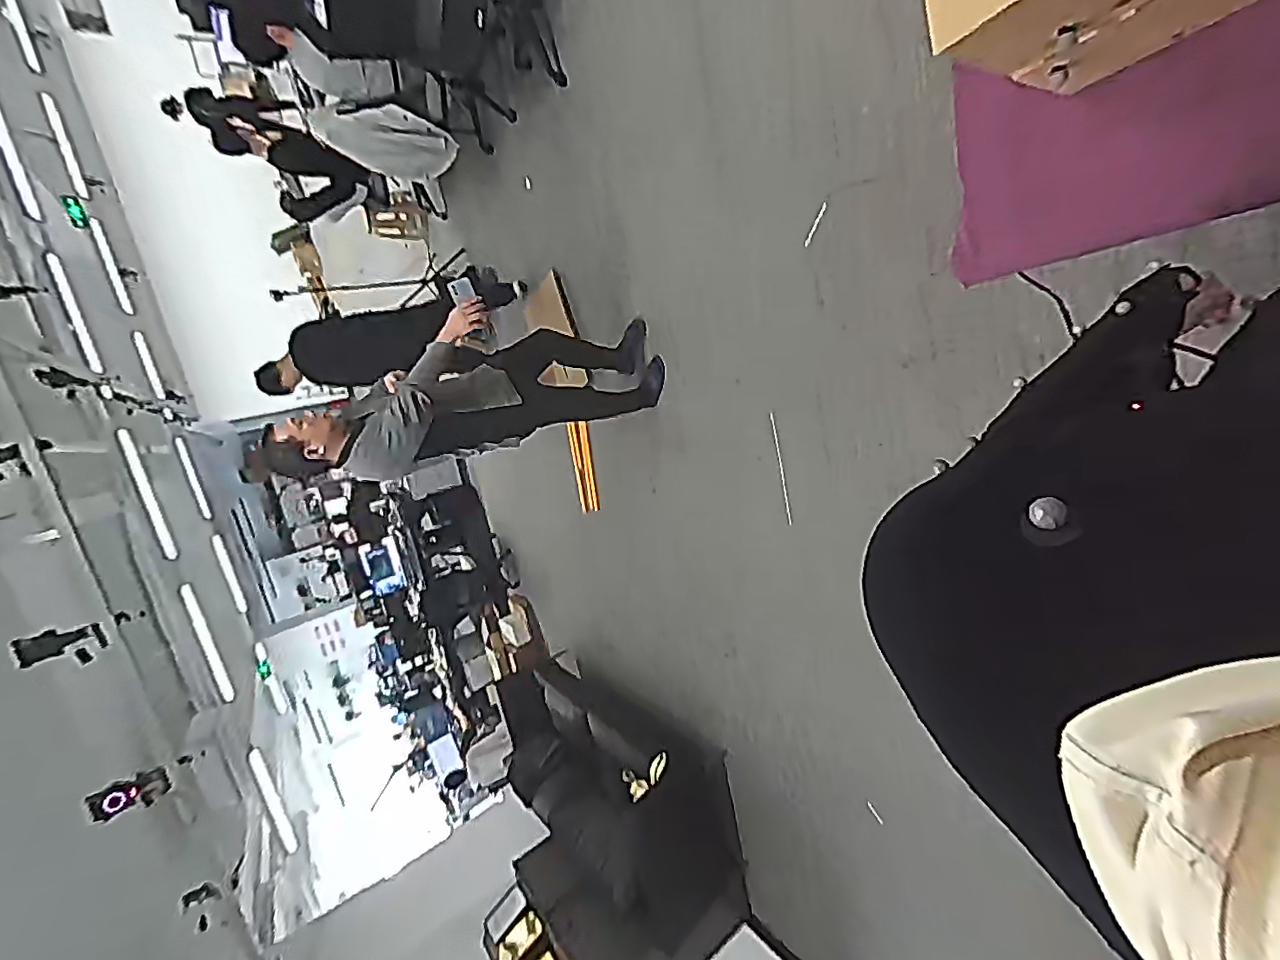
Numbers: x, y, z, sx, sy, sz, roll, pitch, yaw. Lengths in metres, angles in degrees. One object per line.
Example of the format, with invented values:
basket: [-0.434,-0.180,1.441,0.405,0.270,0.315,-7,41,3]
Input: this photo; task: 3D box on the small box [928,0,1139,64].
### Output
small box: [0.367,-0.509,0.470,0.168,0.176,0.179,-1,105,57]
